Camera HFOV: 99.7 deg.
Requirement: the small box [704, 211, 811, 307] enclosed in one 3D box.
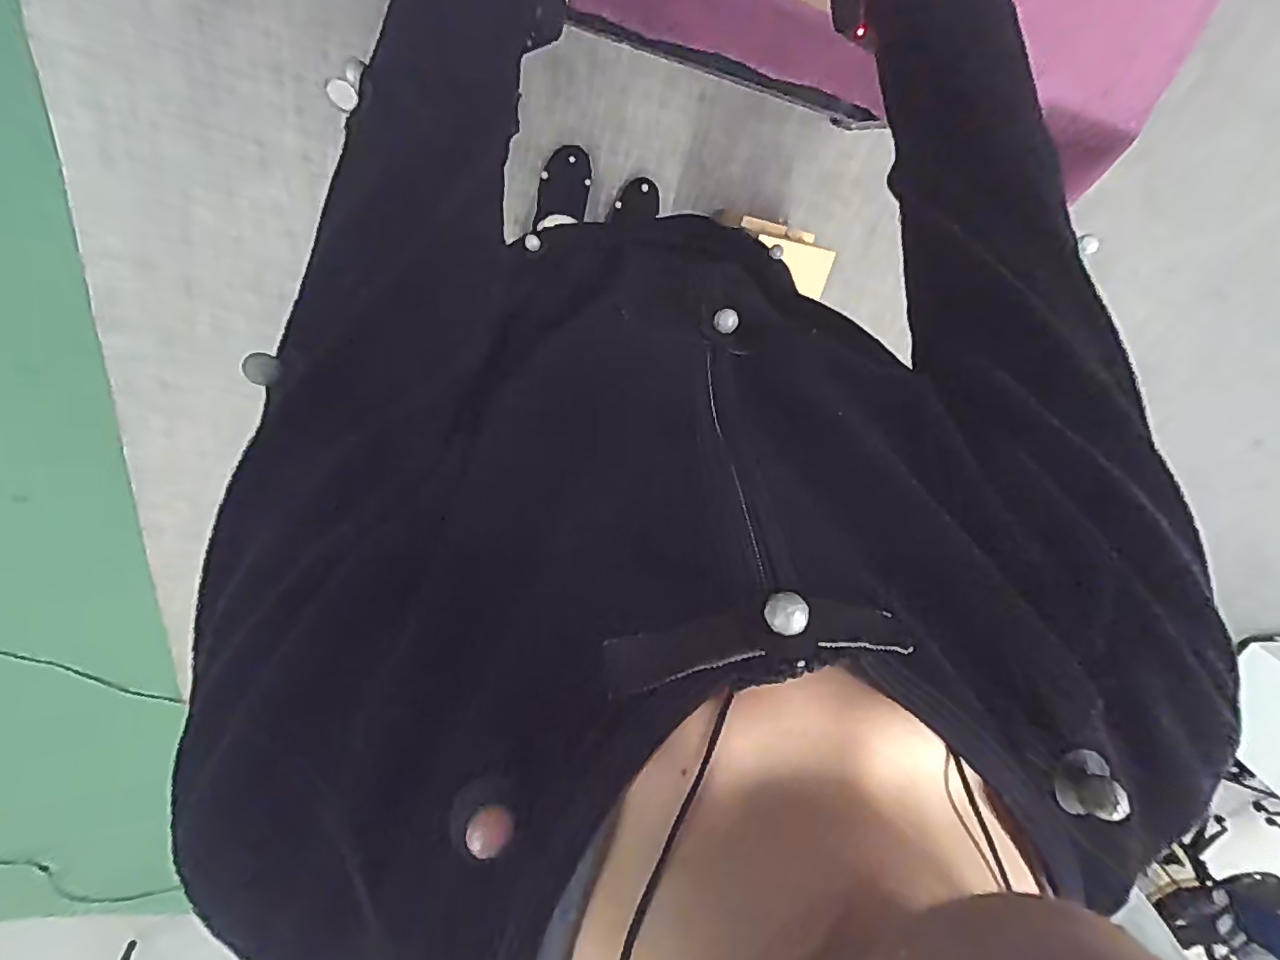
[{"bbox_3d":[0.270,-0.529,1.285,0.179,0.176,0.168,9,119,-12],"label":"small box"}]
